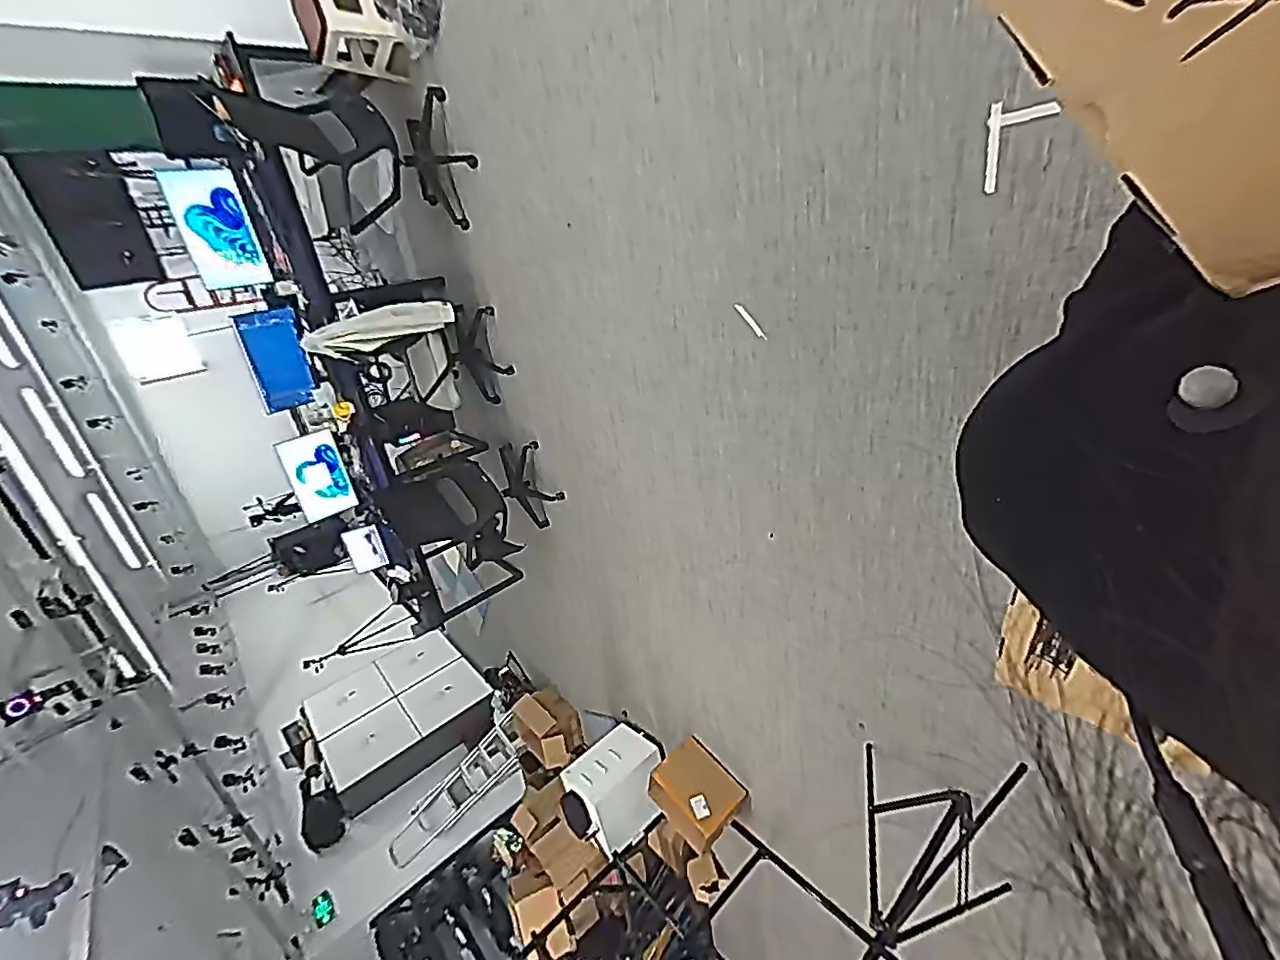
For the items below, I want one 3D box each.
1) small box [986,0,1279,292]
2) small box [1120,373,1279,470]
[{"bbox_3d":[0.242,-0.194,0.138,0.168,0.176,0.179,50,164,-1],"label":"small box"},{"bbox_3d":[0.862,-0.057,0.845,0.179,0.176,0.168,29,133,41],"label":"small box"}]
